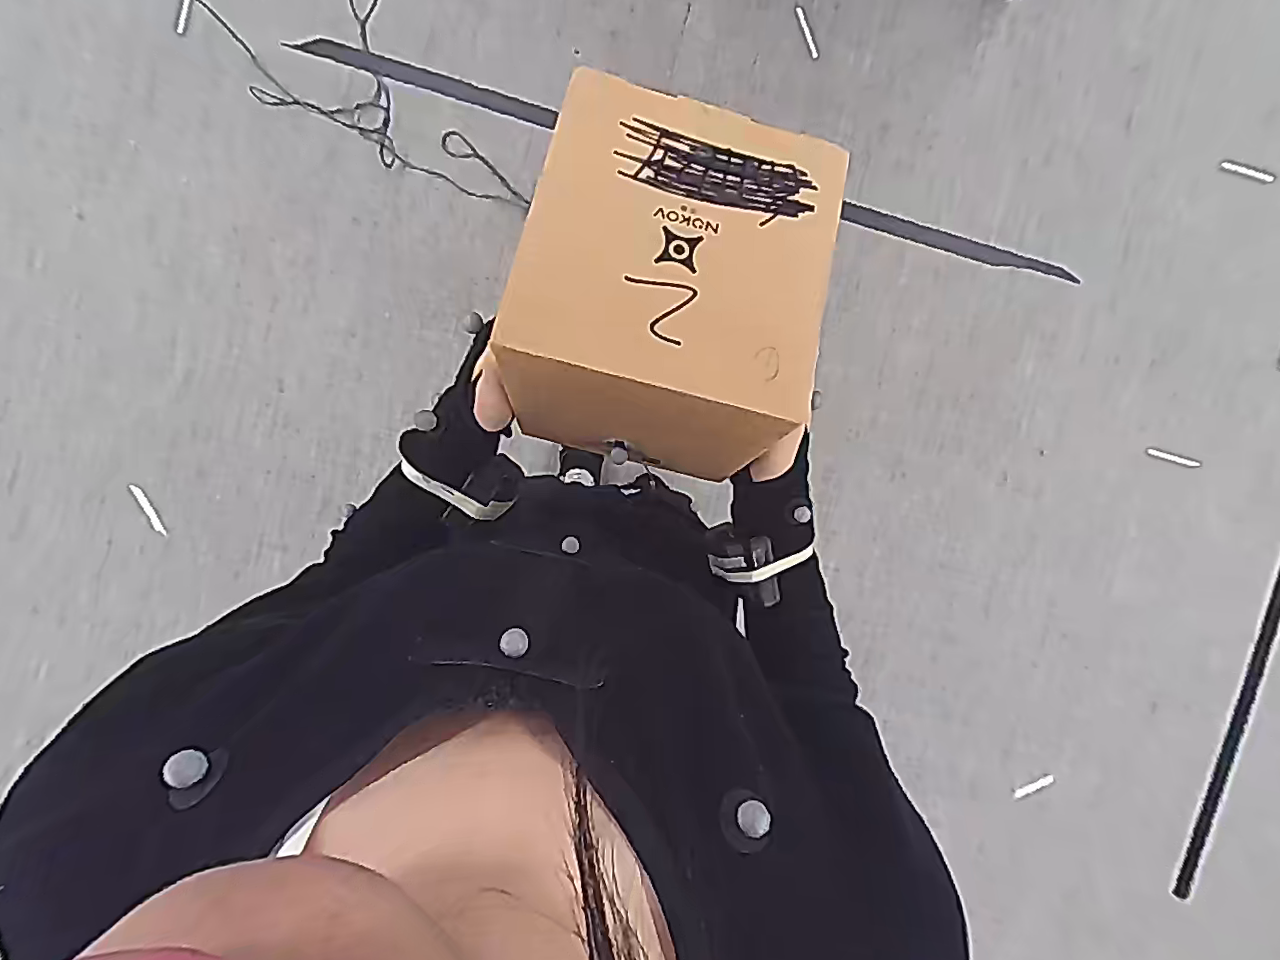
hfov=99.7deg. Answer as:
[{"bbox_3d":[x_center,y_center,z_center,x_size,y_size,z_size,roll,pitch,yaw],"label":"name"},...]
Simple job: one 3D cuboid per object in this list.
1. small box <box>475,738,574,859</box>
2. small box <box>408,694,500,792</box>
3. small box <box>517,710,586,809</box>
[{"bbox_3d":[-0.261,0.731,1.260,0.179,0.176,0.168,13,93,-2],"label":"small box"},{"bbox_3d":[-0.482,0.682,1.421,0.179,0.176,0.168,9,93,-2],"label":"small box"},{"bbox_3d":[-0.241,0.728,1.426,0.179,0.176,0.168,9,92,-3],"label":"small box"}]
